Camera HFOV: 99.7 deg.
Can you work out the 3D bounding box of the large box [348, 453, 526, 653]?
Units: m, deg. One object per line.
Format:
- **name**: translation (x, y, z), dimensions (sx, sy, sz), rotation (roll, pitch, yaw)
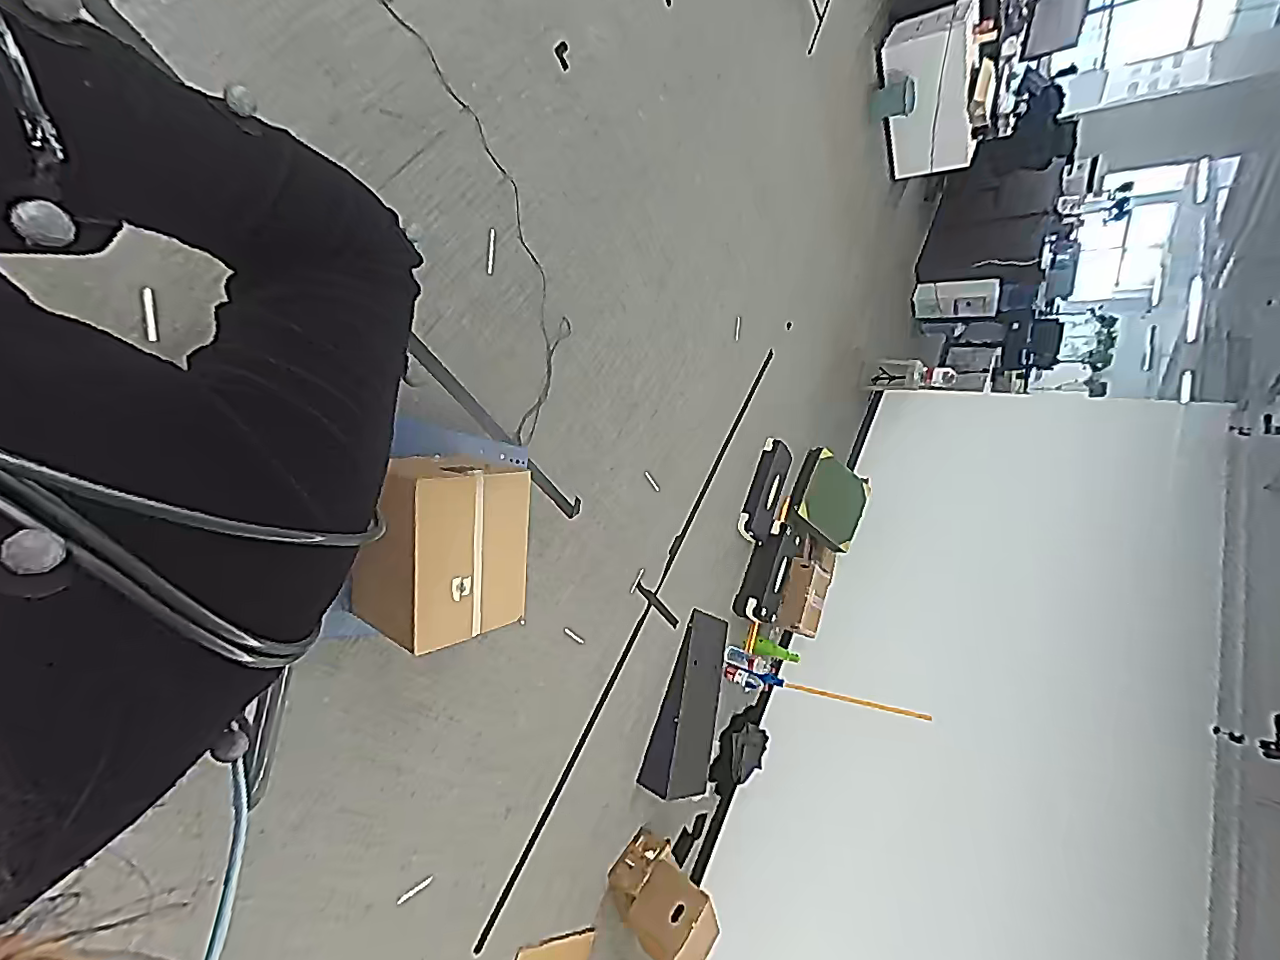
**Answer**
- **large box**: translation (-0.512, 0.155, 1.368), dimensions (0.320, 0.320, 0.408), rotation (-7, 105, -50)
